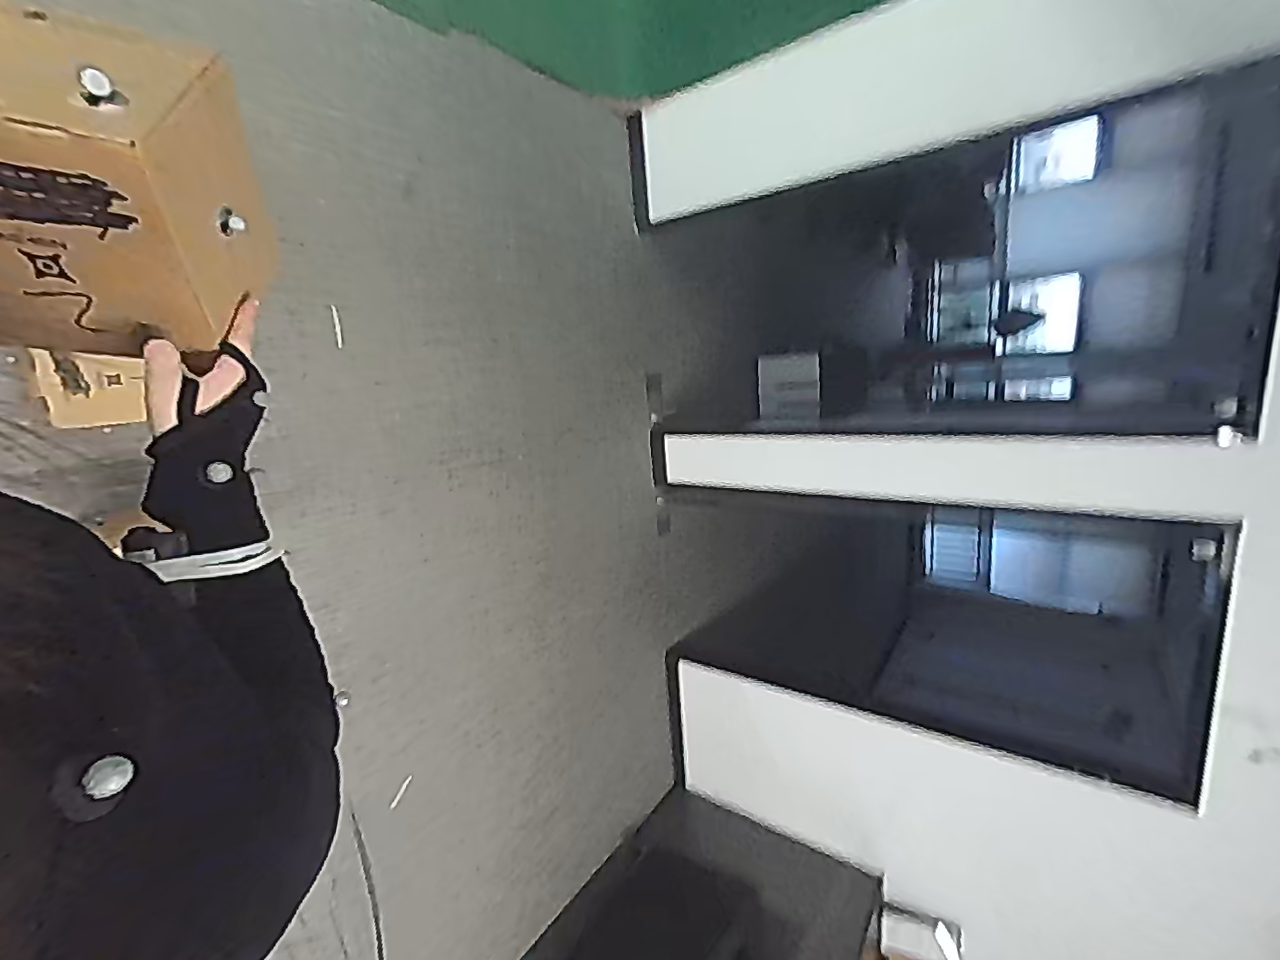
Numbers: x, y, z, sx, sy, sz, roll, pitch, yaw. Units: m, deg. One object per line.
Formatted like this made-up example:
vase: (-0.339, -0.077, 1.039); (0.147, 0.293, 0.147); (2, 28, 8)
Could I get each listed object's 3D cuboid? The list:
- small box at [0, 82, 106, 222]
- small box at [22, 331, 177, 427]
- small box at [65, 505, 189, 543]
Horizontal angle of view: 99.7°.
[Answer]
small box: (-1.085, -0.568, 0.948); (0.168, 0.176, 0.179); (-21, 110, -52)
small box: (-1.045, -0.193, 1.045); (0.179, 0.176, 0.168); (-20, 110, -52)
small box: (-1.029, 0.155, 1.107); (0.168, 0.176, 0.179); (-22, 112, -49)
